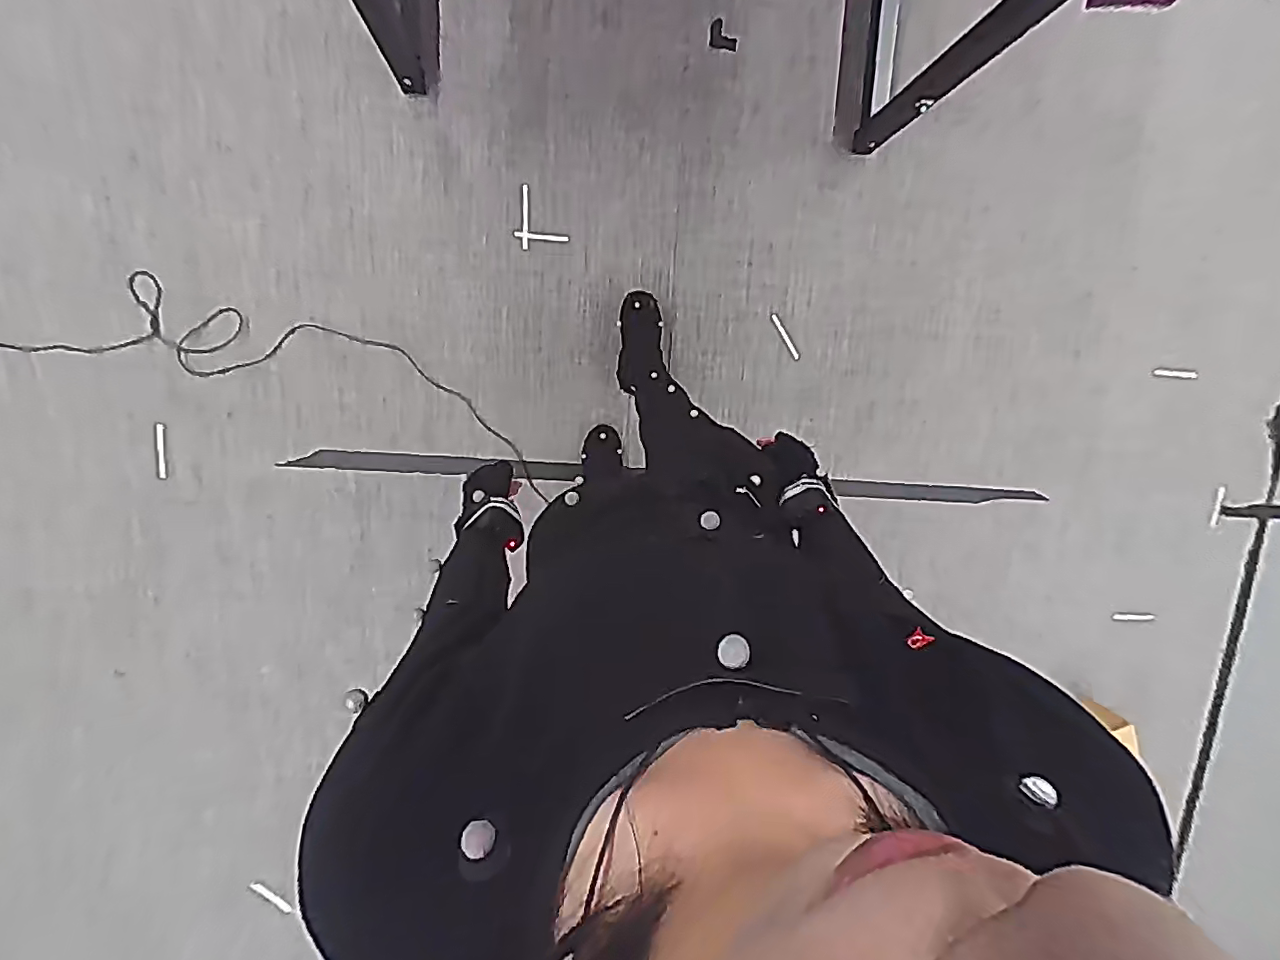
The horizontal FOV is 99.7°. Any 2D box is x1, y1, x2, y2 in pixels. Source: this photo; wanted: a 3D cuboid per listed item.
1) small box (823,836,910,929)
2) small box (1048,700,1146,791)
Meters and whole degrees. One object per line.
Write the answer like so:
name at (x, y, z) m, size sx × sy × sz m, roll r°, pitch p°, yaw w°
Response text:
small box at (0.717, 1.282, 1.734) m, size 0.179 × 0.176 × 0.168 m, roll 15°, pitch 99°, yaw -10°
small box at (1.478, 0.856, 1.756) m, size 0.168 × 0.176 × 0.179 m, roll -20°, pitch 100°, yaw -4°
